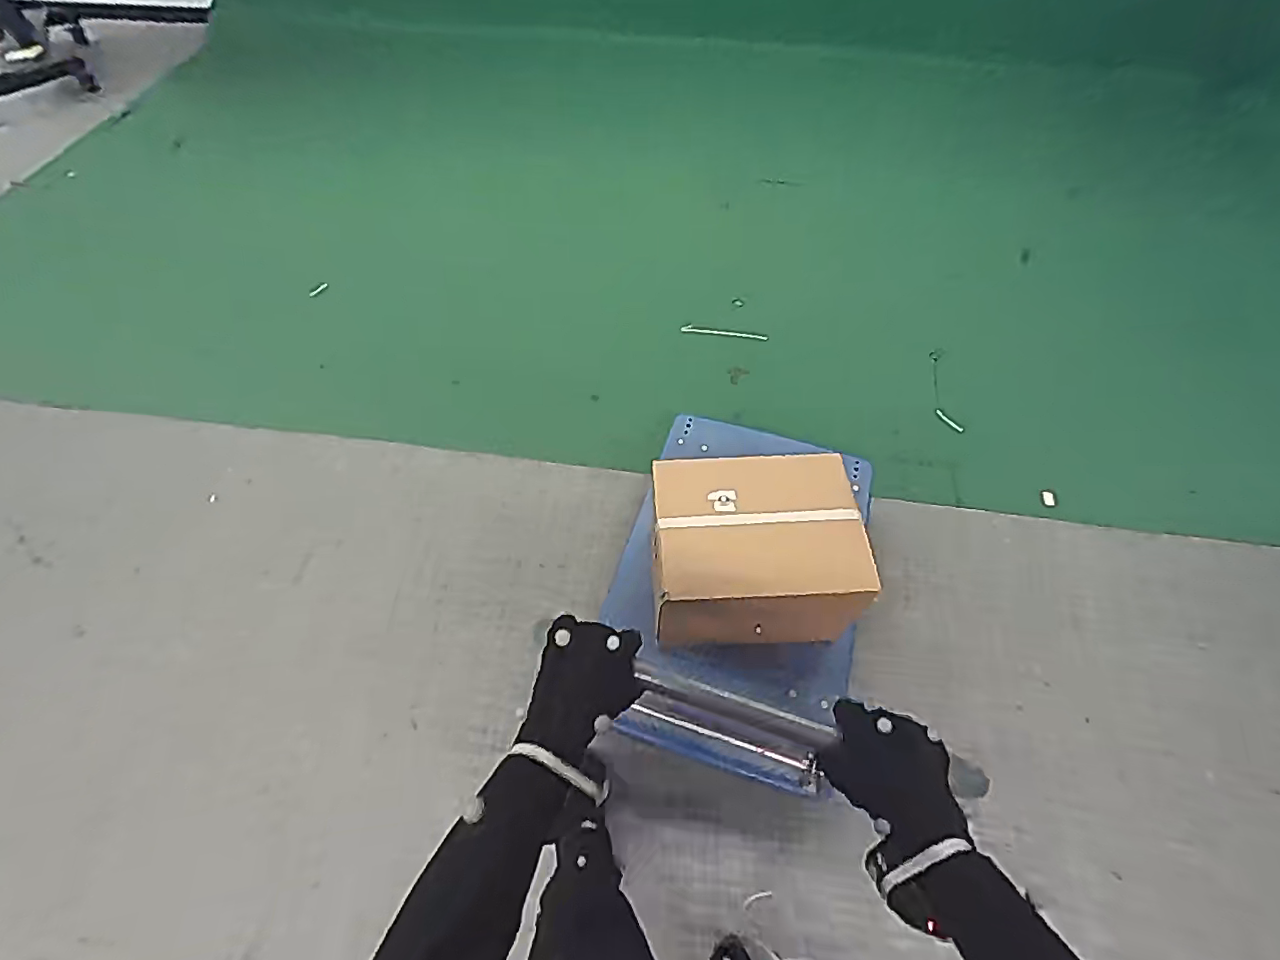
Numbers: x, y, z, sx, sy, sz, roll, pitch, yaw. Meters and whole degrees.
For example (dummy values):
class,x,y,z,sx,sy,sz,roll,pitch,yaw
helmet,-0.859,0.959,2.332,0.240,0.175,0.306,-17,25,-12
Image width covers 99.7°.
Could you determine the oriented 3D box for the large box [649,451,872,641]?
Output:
class,x,y,z,sx,sy,sz,roll,pitch,yaw
large box,0.234,0.158,1.208,0.408,0.320,0.320,-3,57,0
